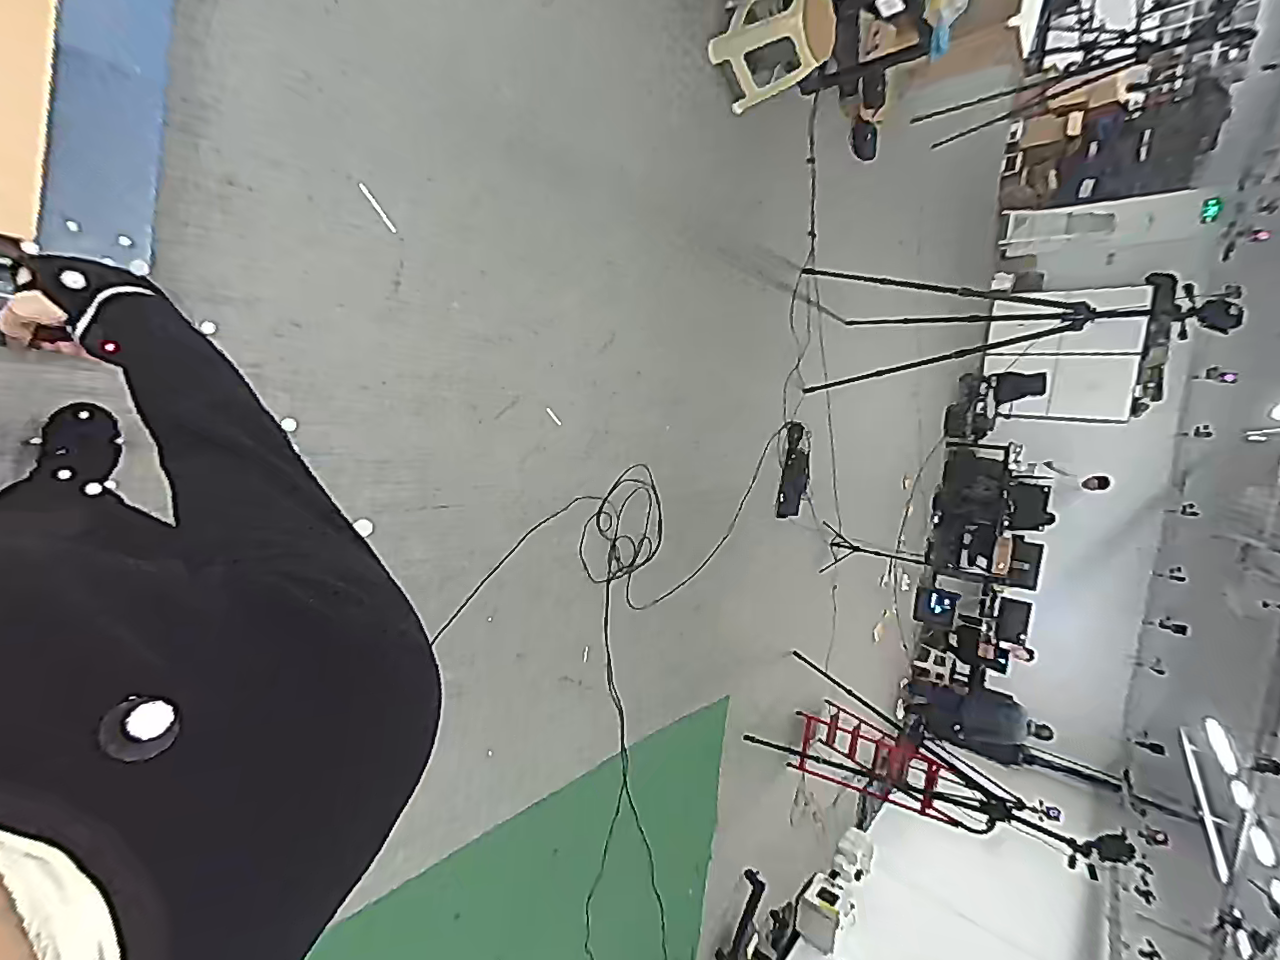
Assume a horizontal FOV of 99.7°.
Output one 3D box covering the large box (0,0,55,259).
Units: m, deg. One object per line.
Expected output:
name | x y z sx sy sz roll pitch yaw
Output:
large box | -1.030 -0.565 0.730 0.320 0.320 0.408 4 94 -50
